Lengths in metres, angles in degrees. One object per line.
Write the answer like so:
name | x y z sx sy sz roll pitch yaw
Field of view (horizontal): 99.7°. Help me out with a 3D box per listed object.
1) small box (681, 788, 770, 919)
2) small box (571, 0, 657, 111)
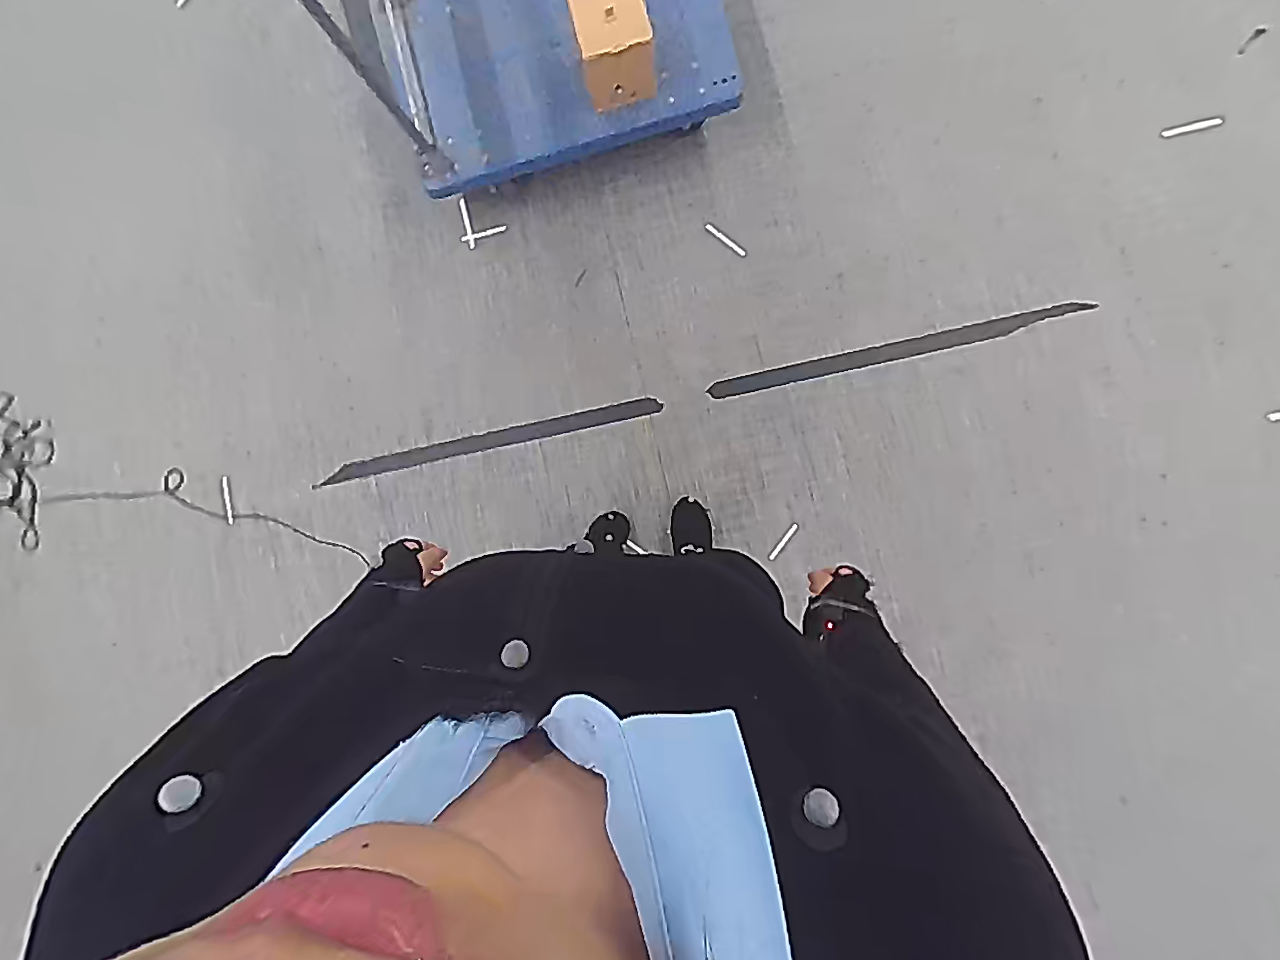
small box | 0.184 0.821 1.201 0.168 0.176 0.179 -8 86 3
small box | -0.059 -1.044 1.300 0.168 0.176 0.179 -15 86 3
